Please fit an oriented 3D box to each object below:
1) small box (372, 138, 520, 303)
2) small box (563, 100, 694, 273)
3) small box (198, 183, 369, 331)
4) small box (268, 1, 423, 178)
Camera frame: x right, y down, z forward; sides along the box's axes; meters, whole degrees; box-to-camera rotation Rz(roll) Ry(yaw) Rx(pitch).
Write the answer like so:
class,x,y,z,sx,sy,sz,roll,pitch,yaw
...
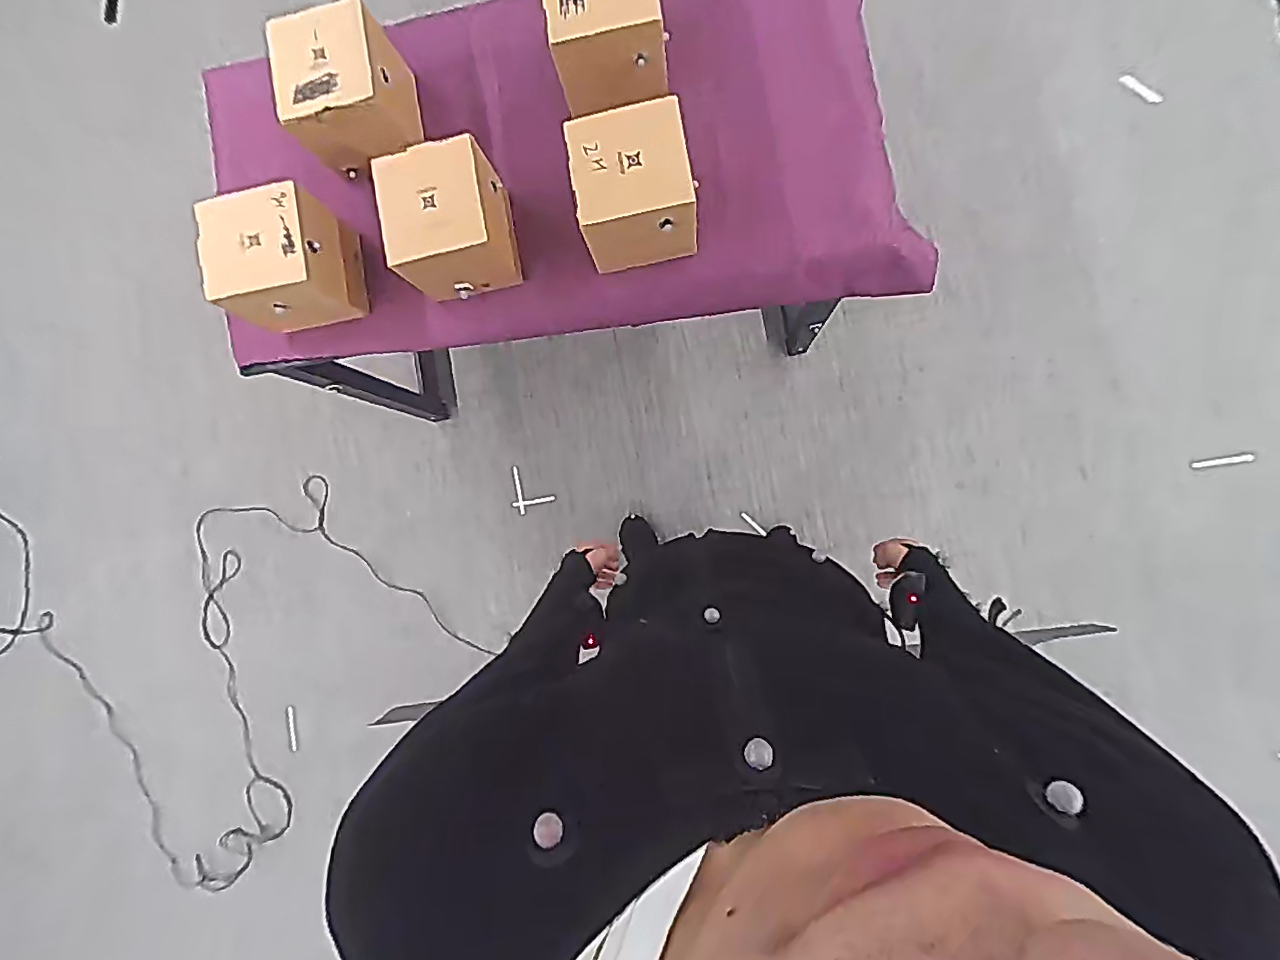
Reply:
class,x,y,z,sx,sy,sz,roll,pitch,yaw
small box,-0.315,-0.423,0.908,0.168,0.176,0.179,-10,88,6
small box,-0.011,-0.460,0.872,0.179,0.176,0.168,-10,86,6
small box,-0.605,-0.372,0.935,0.179,0.176,0.168,-9,87,6
small box,-0.498,-0.657,0.938,0.168,0.176,0.179,-10,86,5
